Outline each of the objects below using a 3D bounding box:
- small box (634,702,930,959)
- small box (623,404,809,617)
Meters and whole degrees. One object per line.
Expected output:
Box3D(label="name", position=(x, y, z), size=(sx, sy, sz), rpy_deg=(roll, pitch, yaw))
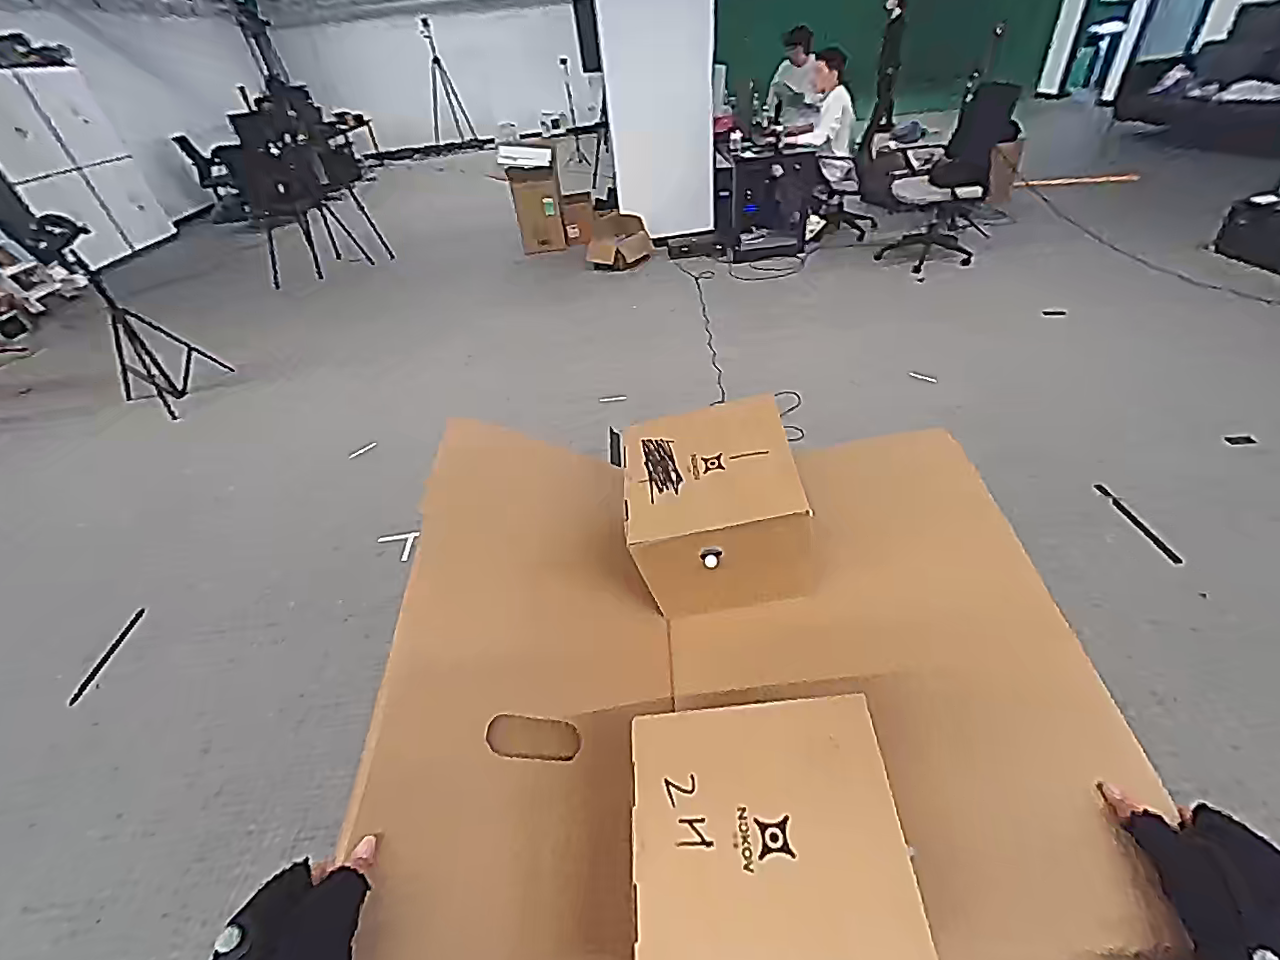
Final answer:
Box3D(label="small box", position=(0.100, 0.287, 0.421), size=(0.179, 0.176, 0.168), rpy_deg=(-11, 49, 12))
Box3D(label="small box", position=(0.088, 0.043, 0.627), size=(0.179, 0.176, 0.168), rpy_deg=(-12, 49, 10))
